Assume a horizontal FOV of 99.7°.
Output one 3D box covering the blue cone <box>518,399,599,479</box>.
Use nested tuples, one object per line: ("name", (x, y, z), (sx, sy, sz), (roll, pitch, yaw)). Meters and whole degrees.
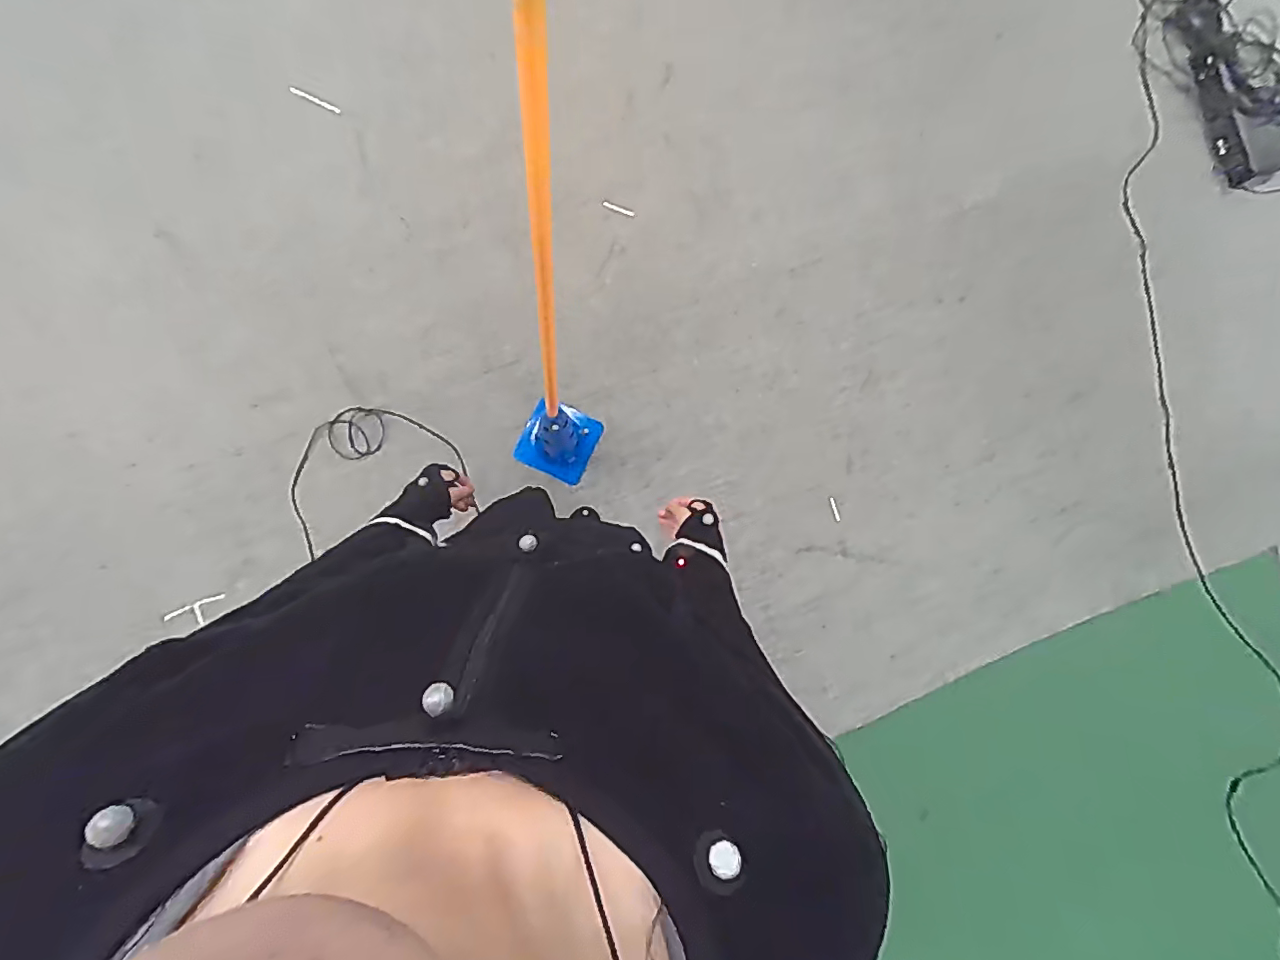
("blue cone", (-0.205, -0.133, 1.330), (0.192, 0.380, 0.193), (24, 81, -4))
